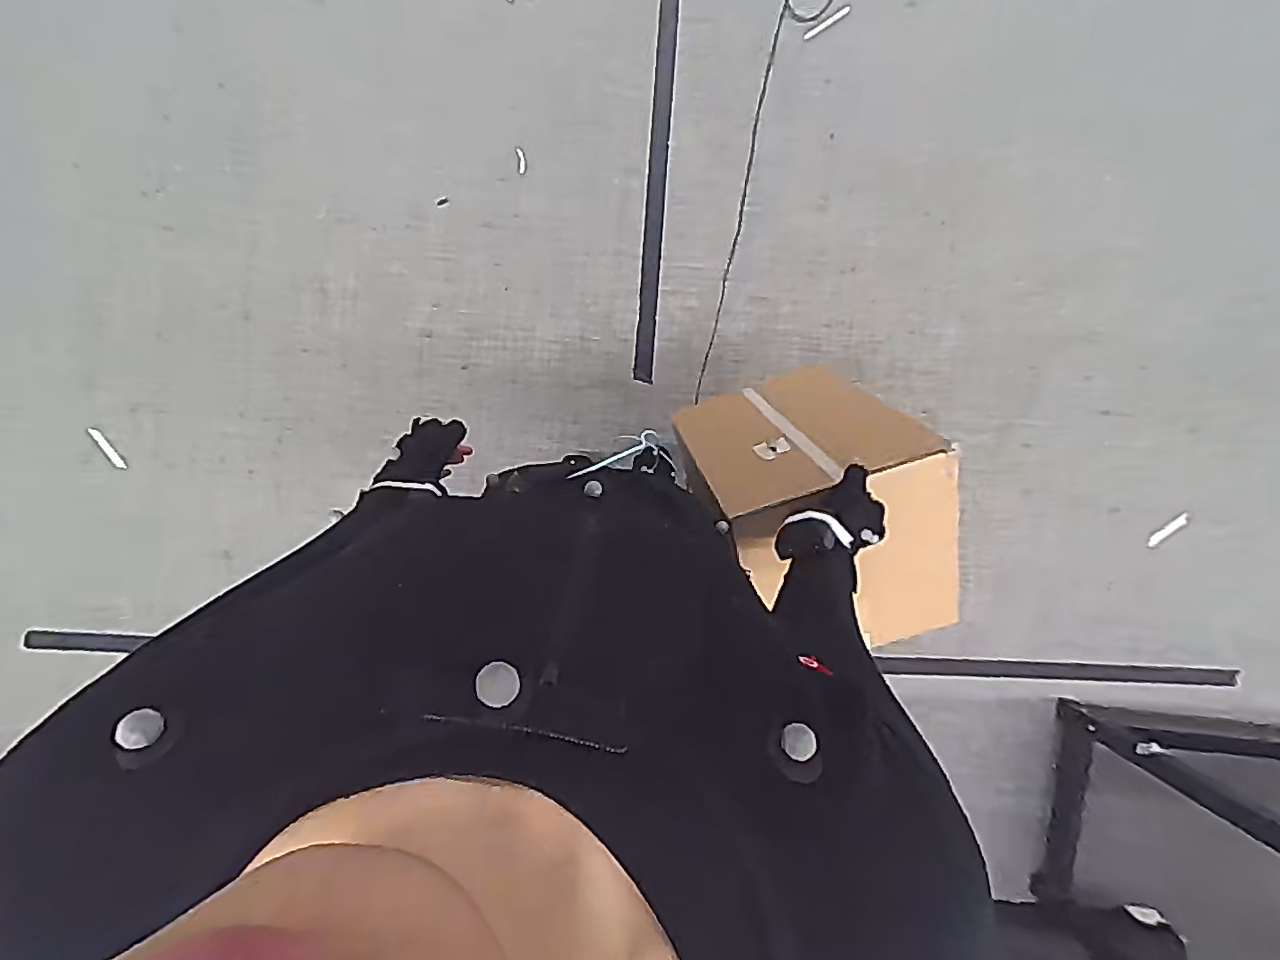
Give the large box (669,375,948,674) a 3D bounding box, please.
[{"bbox_3d":[0.269,0.052,0.956,0.320,0.408,0.320,-18,119,0],"label":"large box"}]
